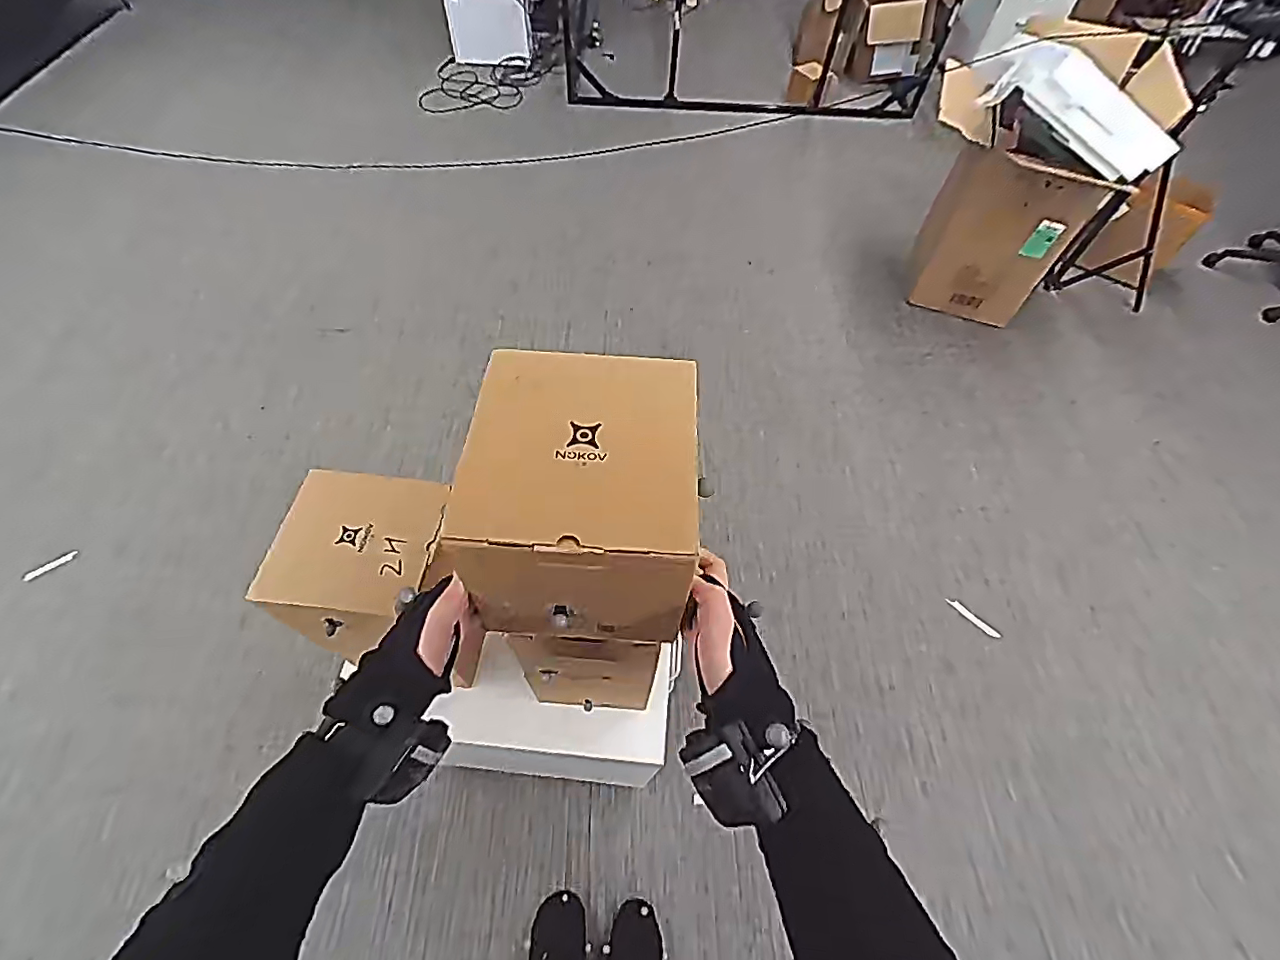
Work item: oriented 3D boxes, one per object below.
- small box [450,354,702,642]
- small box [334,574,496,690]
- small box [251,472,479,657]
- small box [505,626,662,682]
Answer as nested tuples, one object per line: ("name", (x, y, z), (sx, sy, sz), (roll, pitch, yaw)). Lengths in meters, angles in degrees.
("small box", (-0.040, 0.020, 0.457), (0.168, 0.176, 0.179), (4, 56, 0))
("small box", (-0.319, 0.196, 0.806), (0.168, 0.176, 0.179), (7, 56, 2))
("small box", (-0.312, 0.110, 0.665), (0.179, 0.176, 0.168), (7, 58, 1))
("small box", (-0.053, 0.139, 0.662), (0.168, 0.176, 0.179), (5, 57, 0))
